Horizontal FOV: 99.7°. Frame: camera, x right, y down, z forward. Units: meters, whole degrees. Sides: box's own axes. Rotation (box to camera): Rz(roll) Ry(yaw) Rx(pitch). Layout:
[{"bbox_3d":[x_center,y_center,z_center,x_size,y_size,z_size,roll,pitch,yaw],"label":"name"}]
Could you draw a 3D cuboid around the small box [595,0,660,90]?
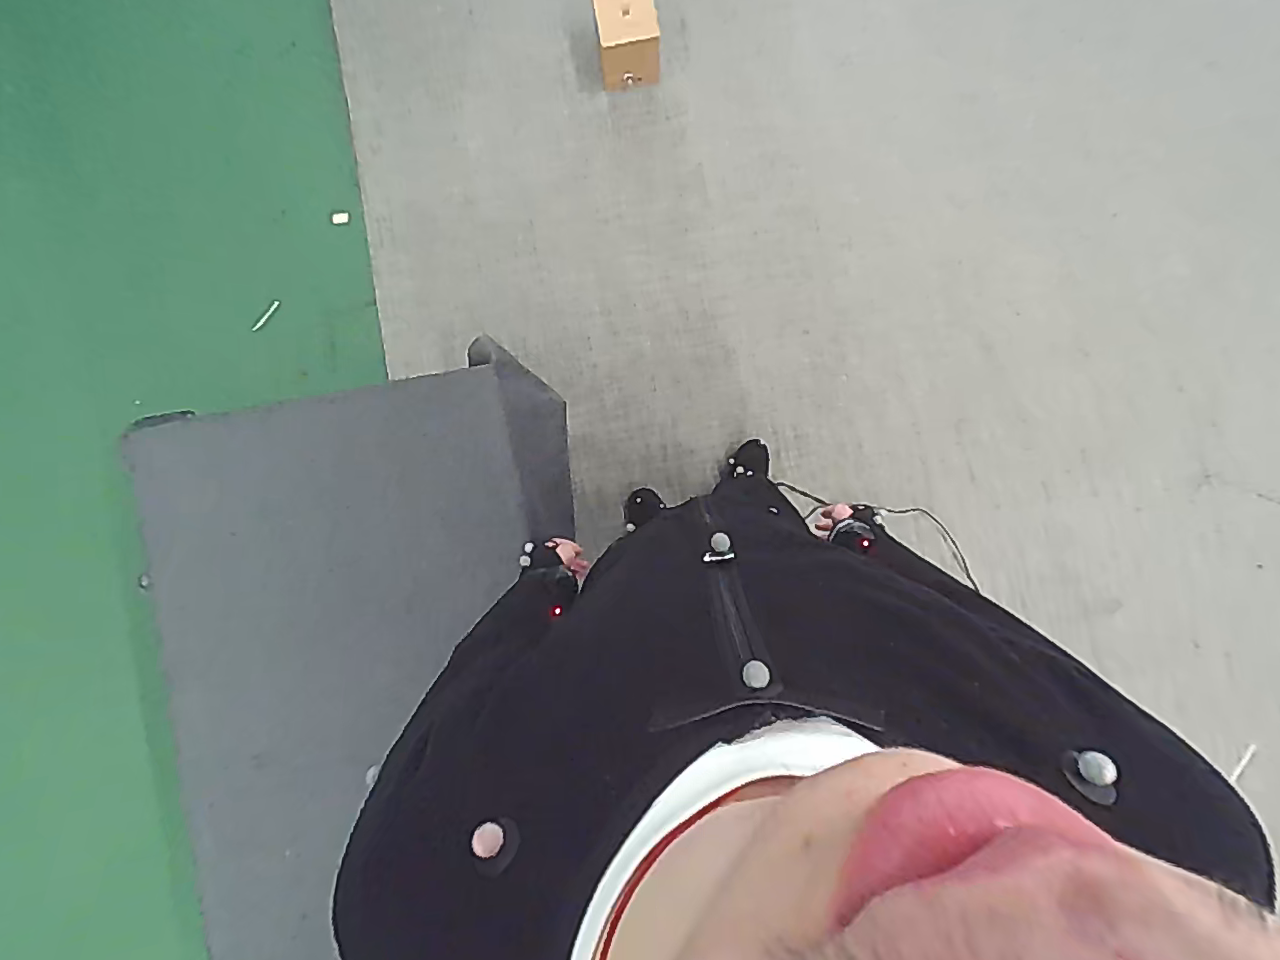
[{"bbox_3d":[-0.034,-1.264,1.536,0.168,0.176,0.179,-8,88,3],"label":"small box"}]
